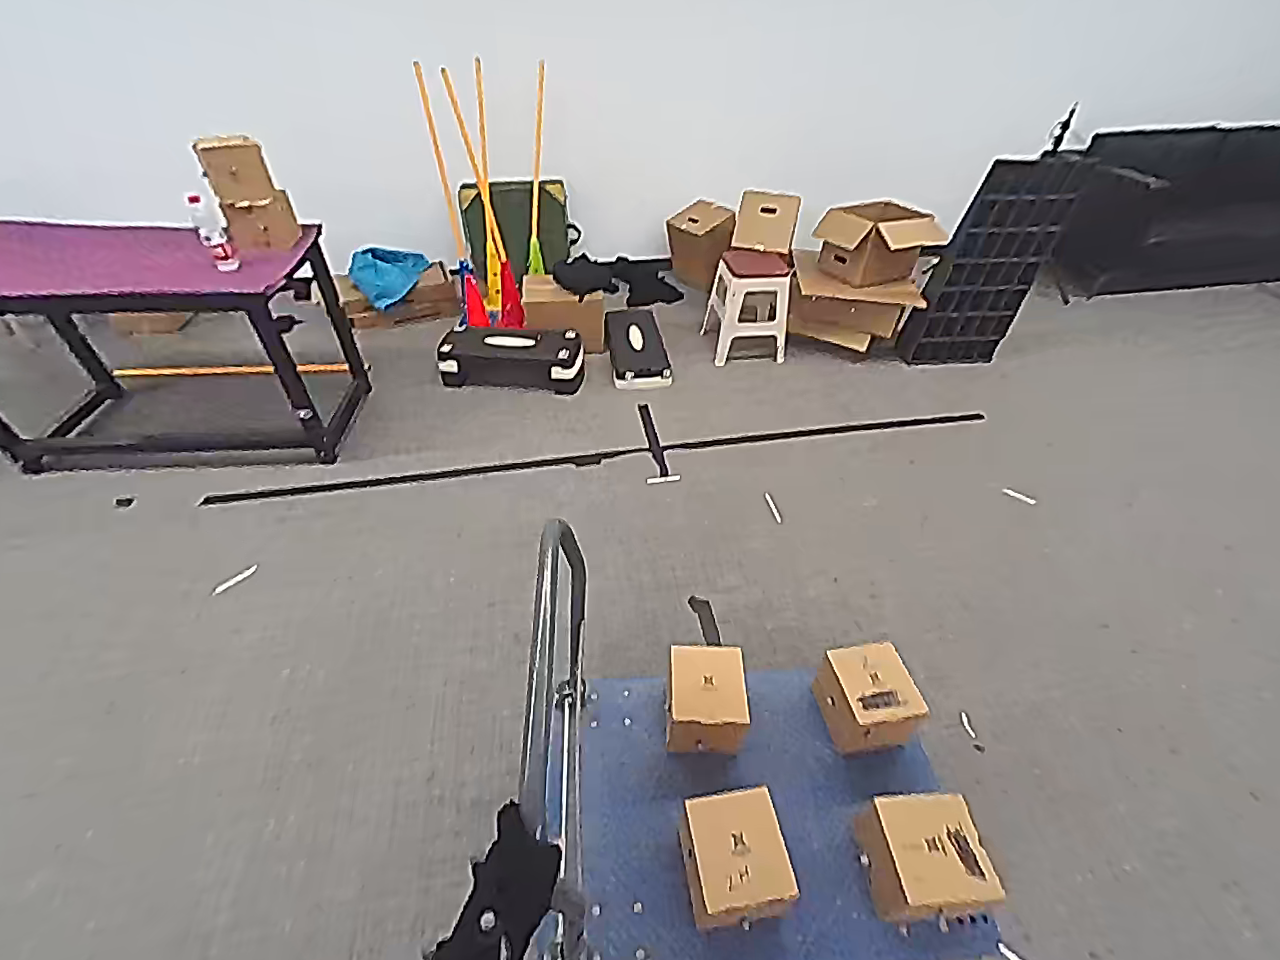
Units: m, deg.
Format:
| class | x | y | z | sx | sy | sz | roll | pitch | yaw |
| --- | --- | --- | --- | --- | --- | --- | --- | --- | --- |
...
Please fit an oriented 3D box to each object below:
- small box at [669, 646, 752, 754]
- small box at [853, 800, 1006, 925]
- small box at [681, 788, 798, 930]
| class | x | y | z | sx | sy | sz | roll | pitch | yaw |
| --- | --- | --- | --- | --- | --- | --- | --- | --- | --- |
| small box | 0.154 | 0.507 | 1.248 | 0.168 | 0.176 | 0.179 | 2 | 43 | 0 |
| small box | 0.534 | 0.726 | 1.027 | 0.179 | 0.176 | 0.168 | -1 | 43 | -2 |
| small box | 0.175 | 0.716 | 1.024 | 0.168 | 0.176 | 0.179 | -5 | 43 | -7 |
